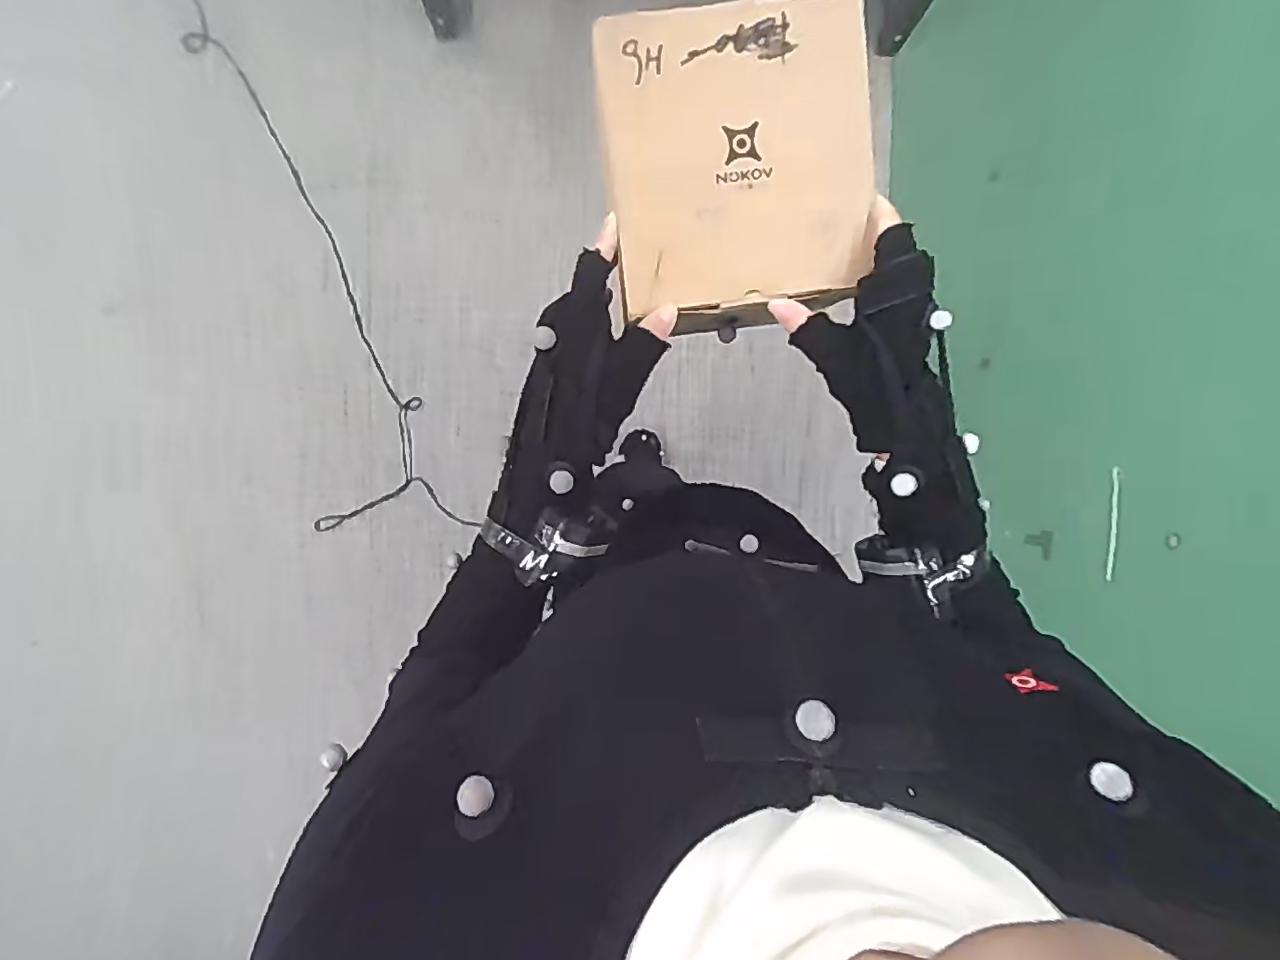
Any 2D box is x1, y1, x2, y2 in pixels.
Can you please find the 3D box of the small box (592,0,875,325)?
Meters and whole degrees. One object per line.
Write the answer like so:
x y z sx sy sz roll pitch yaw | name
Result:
0.062 -0.219 0.414 0.168 0.176 0.179 -8 101 0 | small box
